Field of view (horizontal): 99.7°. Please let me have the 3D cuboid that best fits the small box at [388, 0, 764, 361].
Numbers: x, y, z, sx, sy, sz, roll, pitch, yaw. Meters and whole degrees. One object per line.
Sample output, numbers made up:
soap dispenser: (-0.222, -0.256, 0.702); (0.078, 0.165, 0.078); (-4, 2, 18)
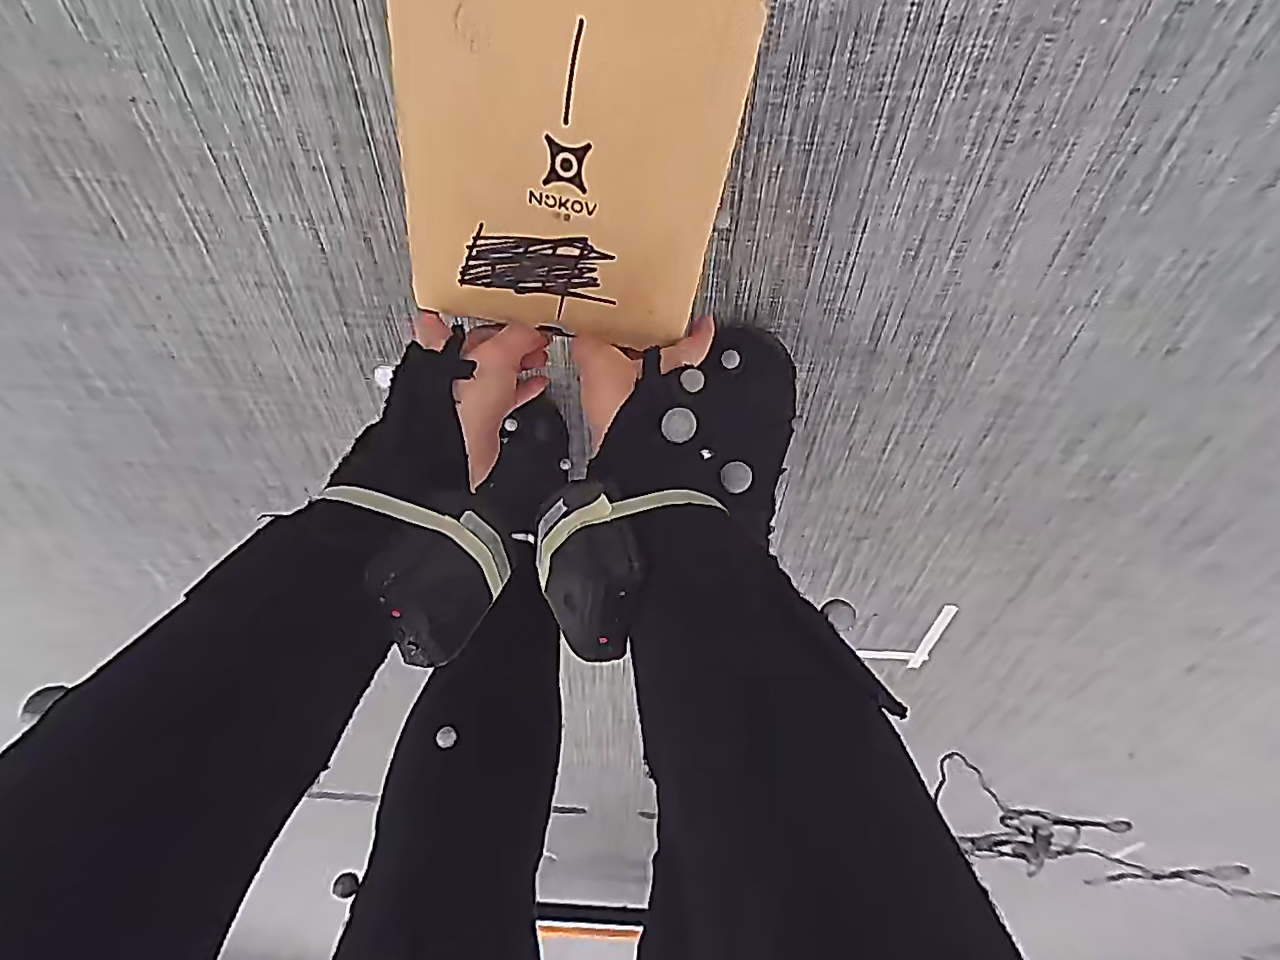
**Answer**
small box: (-0.036, -0.204, 0.339); (0.168, 0.176, 0.179); (9, 131, -5)
